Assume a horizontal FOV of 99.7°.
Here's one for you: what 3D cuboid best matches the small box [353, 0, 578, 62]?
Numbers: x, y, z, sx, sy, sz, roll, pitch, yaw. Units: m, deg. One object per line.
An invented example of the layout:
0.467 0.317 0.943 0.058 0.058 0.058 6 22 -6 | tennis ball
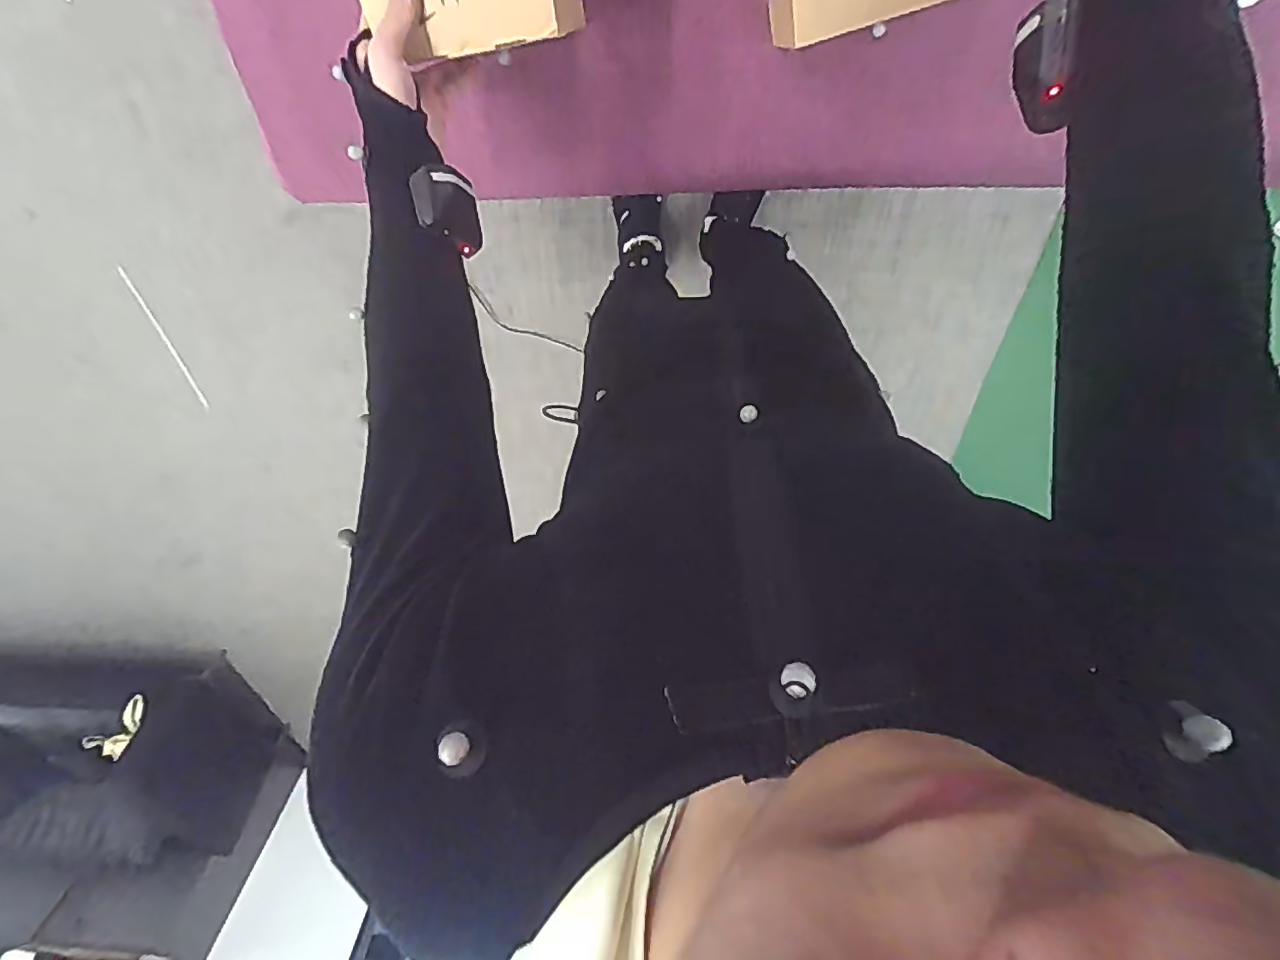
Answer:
-0.158 -0.488 0.469 0.168 0.176 0.179 -3 132 8 | small box
